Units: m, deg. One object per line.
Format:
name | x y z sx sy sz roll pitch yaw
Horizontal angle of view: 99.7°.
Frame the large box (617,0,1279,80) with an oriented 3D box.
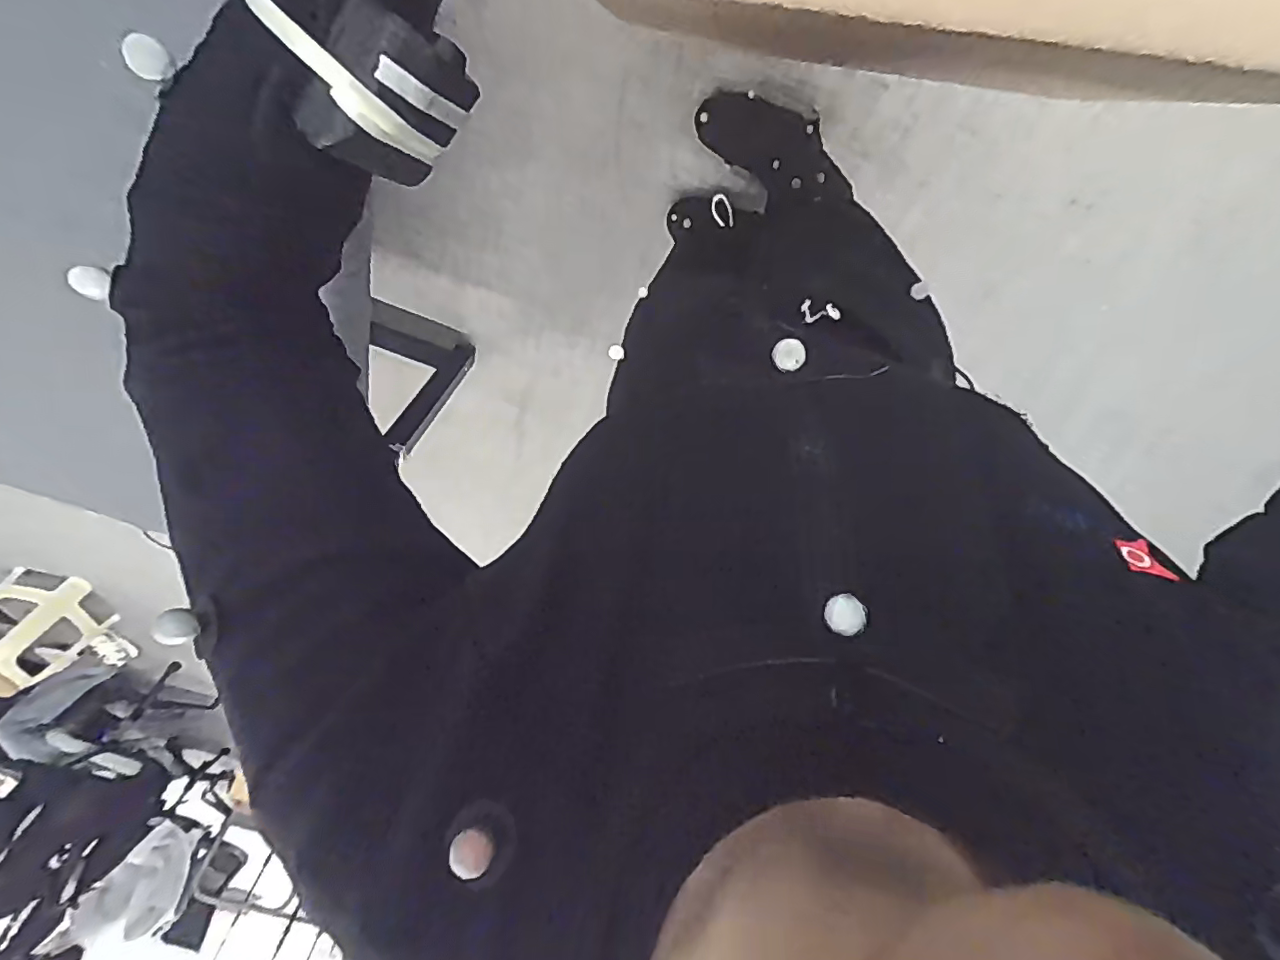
large box | 0.191 -0.406 0.259 0.408 0.320 0.320 7 126 0
